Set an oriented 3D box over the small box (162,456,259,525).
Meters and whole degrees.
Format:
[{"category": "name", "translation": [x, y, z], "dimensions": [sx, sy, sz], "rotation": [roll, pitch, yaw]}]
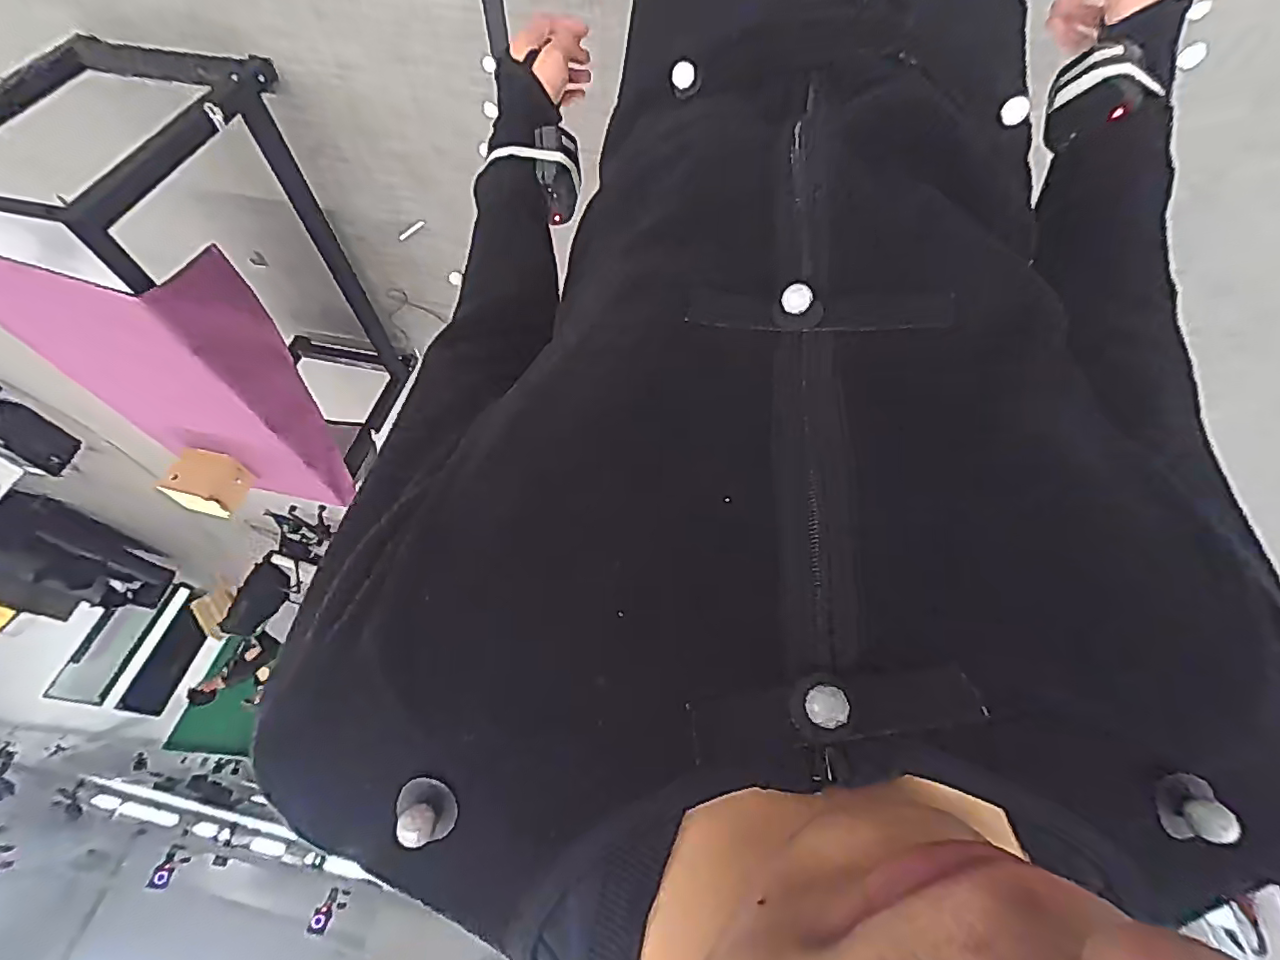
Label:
[{"category": "small box", "translation": [-1.511, 0.033, 1.915], "dimensions": [0.179, 0.176, 0.168], "rotation": [12, 150, 3]}]
